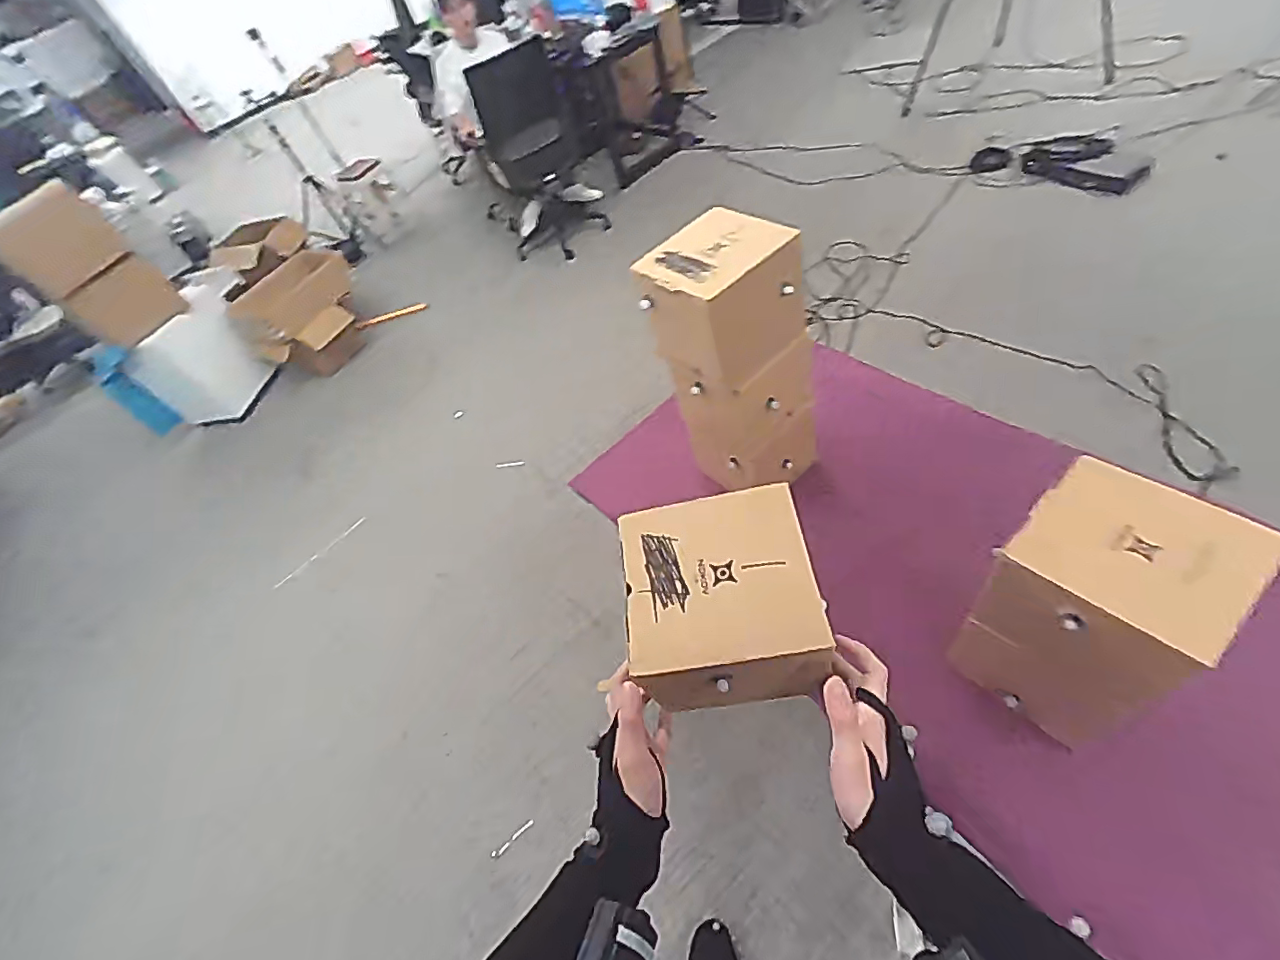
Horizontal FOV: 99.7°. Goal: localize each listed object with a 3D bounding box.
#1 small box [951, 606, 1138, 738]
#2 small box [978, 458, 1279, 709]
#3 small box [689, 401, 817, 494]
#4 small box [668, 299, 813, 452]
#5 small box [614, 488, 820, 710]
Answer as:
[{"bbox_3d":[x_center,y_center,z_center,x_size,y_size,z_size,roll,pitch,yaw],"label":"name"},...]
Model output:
[{"bbox_3d":[0.550,0.211,0.712,0.168,0.176,0.179,-42,52,-14],"label":"small box"},{"bbox_3d":[0.506,0.114,0.588,0.168,0.176,0.179,-41,51,-13],"label":"small box"},{"bbox_3d":[0.226,-0.081,1.055,0.168,0.176,0.179,-40,52,-13],"label":"small box"},{"bbox_3d":[0.180,-0.174,0.931,0.168,0.176,0.179,-41,51,-13],"label":"small box"},{"bbox_3d":[0.082,0.134,0.569,0.179,0.176,0.168,-12,56,9],"label":"small box"}]
